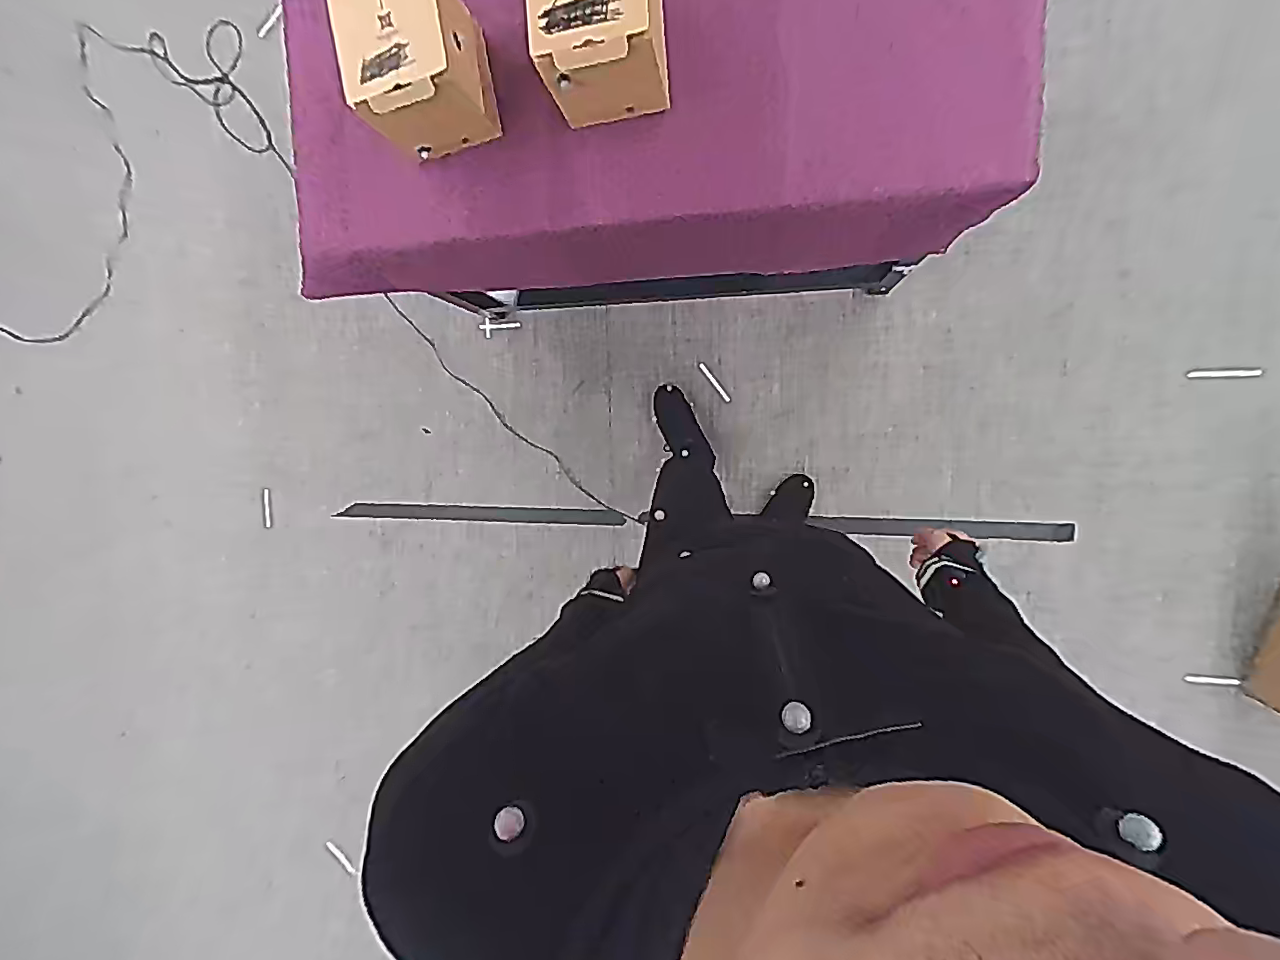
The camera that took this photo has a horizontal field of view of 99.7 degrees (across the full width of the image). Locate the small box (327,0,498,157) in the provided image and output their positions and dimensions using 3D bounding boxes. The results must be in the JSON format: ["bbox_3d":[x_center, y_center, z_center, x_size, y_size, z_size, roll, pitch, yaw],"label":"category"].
[{"bbox_3d":[-0.339,-0.634,0.835,0.168,0.176,0.179,-10,92,11],"label":"small box"}]
